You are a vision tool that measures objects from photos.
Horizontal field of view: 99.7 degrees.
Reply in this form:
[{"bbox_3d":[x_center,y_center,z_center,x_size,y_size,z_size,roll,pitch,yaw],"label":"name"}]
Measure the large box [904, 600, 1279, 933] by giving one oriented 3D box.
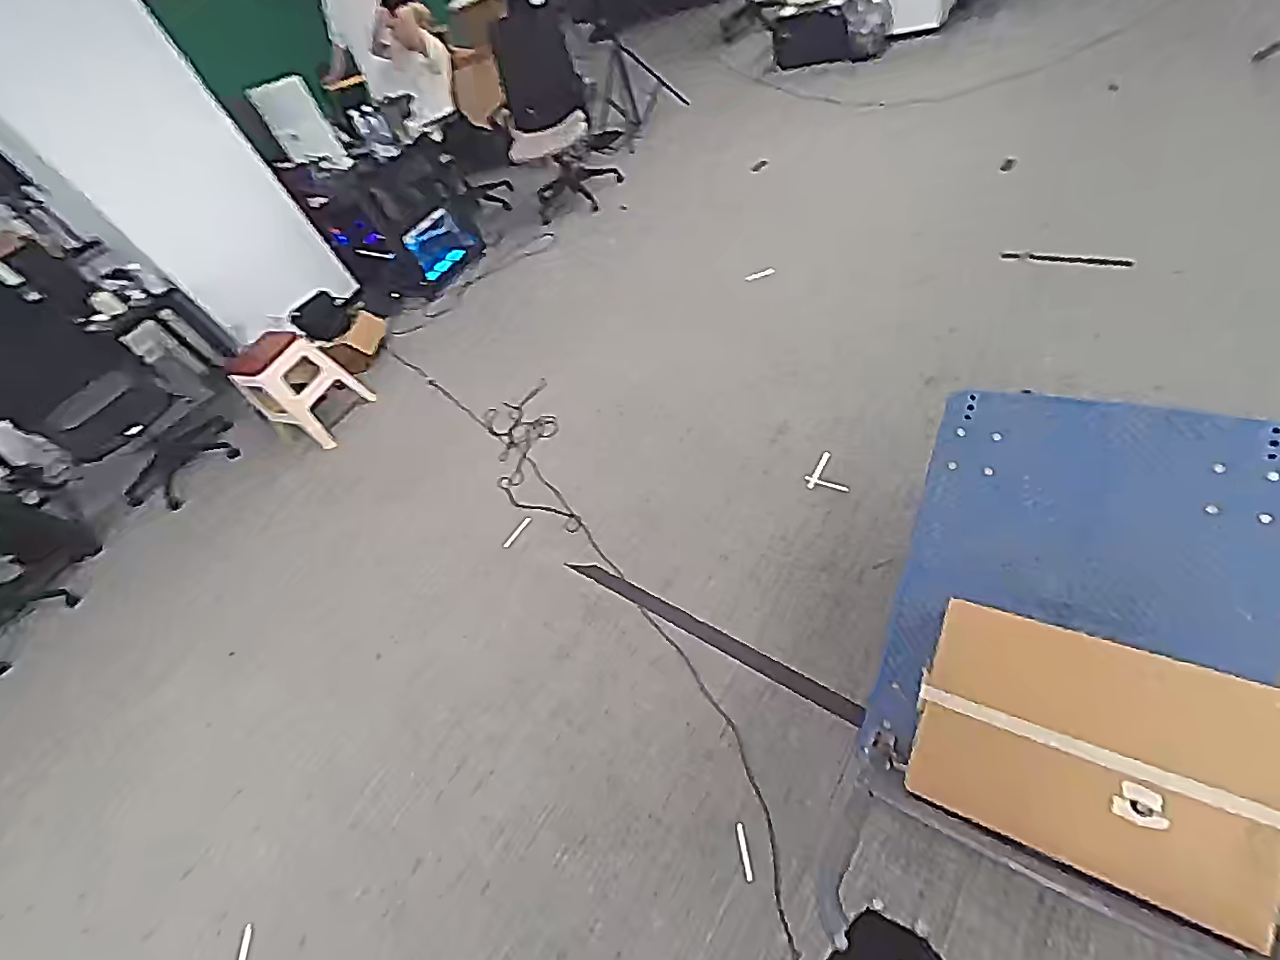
[{"bbox_3d":[0.696,0.419,0.909,0.408,0.320,0.320,14,82,31],"label":"large box"}]
